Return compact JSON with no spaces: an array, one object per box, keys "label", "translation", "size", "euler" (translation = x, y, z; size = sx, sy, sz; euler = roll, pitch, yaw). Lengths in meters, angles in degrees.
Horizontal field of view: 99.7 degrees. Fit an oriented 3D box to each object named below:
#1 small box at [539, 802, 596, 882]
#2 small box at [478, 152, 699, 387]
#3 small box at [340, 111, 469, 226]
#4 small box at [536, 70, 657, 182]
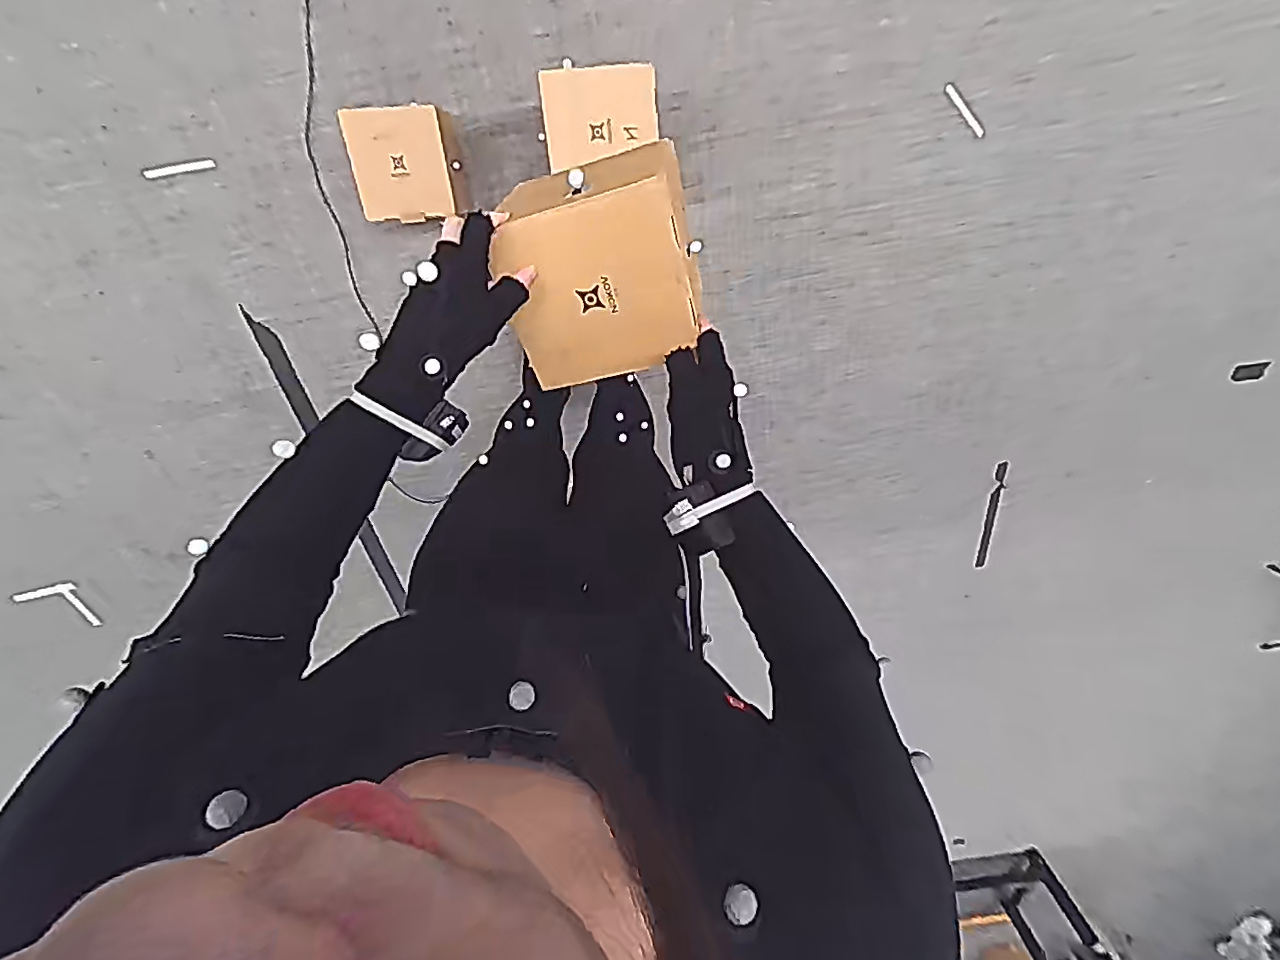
[{"label":"small box","translation":[-0.251,1.272,1.906],"size":[0.179,0.176,0.168],"euler":[-7,121,-3]},{"label":"small box","translation":[-0.038,-0.224,0.573],"size":[0.179,0.176,0.168],"euler":[-10,129,11]},{"label":"small box","translation":[-0.434,-0.593,1.033],"size":[0.168,0.176,0.179],"euler":[-5,119,-4]},{"label":"small box","translation":[-0.068,-0.564,0.900],"size":[0.179,0.176,0.168],"euler":[-7,120,-4]}]
